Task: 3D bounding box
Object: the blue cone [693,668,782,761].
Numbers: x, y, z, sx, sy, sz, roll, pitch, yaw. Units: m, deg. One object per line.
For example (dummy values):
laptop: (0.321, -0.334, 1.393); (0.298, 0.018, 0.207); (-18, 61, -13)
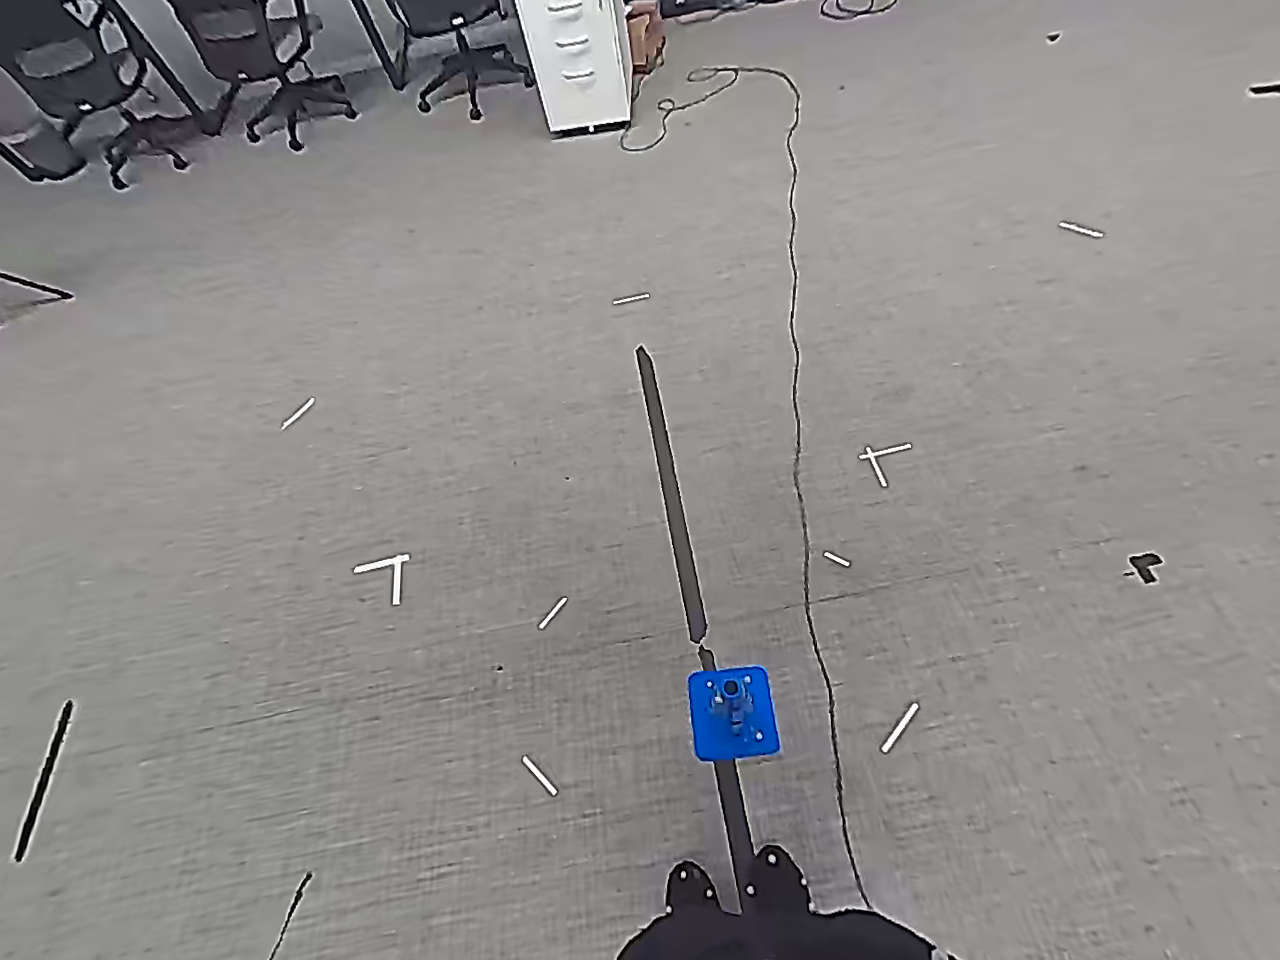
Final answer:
blue cone: (0.204, 0.471, 1.148); (0.193, 0.380, 0.192); (-9, 59, 4)
